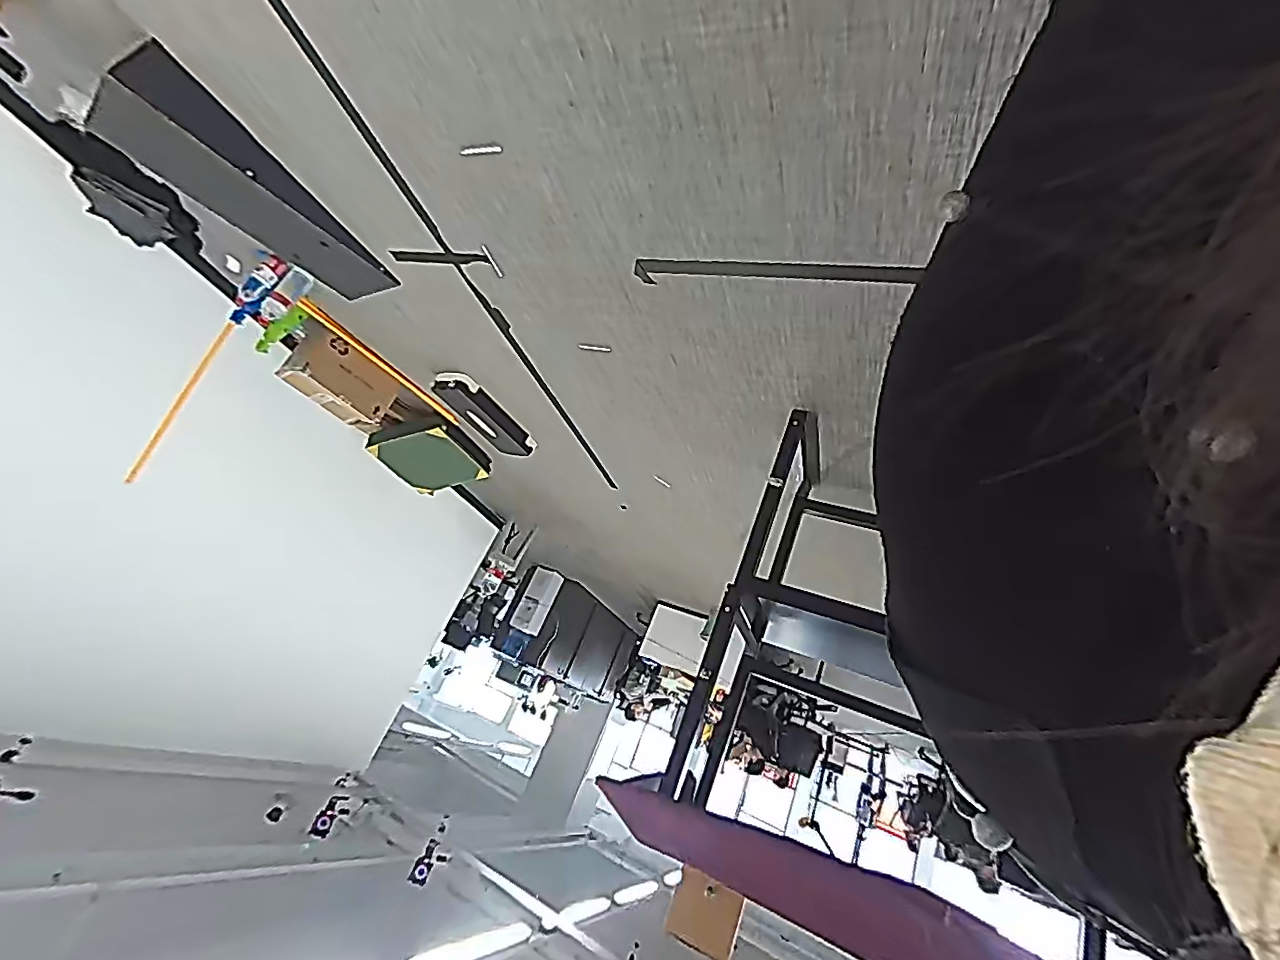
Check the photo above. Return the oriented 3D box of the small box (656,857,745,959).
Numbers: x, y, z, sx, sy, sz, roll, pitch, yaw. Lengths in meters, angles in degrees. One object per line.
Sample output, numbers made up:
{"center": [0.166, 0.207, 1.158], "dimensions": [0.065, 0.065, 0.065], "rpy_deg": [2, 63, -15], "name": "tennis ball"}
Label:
{"center": [0.167, 1.138, 1.439], "dimensions": [0.179, 0.176, 0.168], "rpy_deg": [16, 157, 22], "name": "small box"}
